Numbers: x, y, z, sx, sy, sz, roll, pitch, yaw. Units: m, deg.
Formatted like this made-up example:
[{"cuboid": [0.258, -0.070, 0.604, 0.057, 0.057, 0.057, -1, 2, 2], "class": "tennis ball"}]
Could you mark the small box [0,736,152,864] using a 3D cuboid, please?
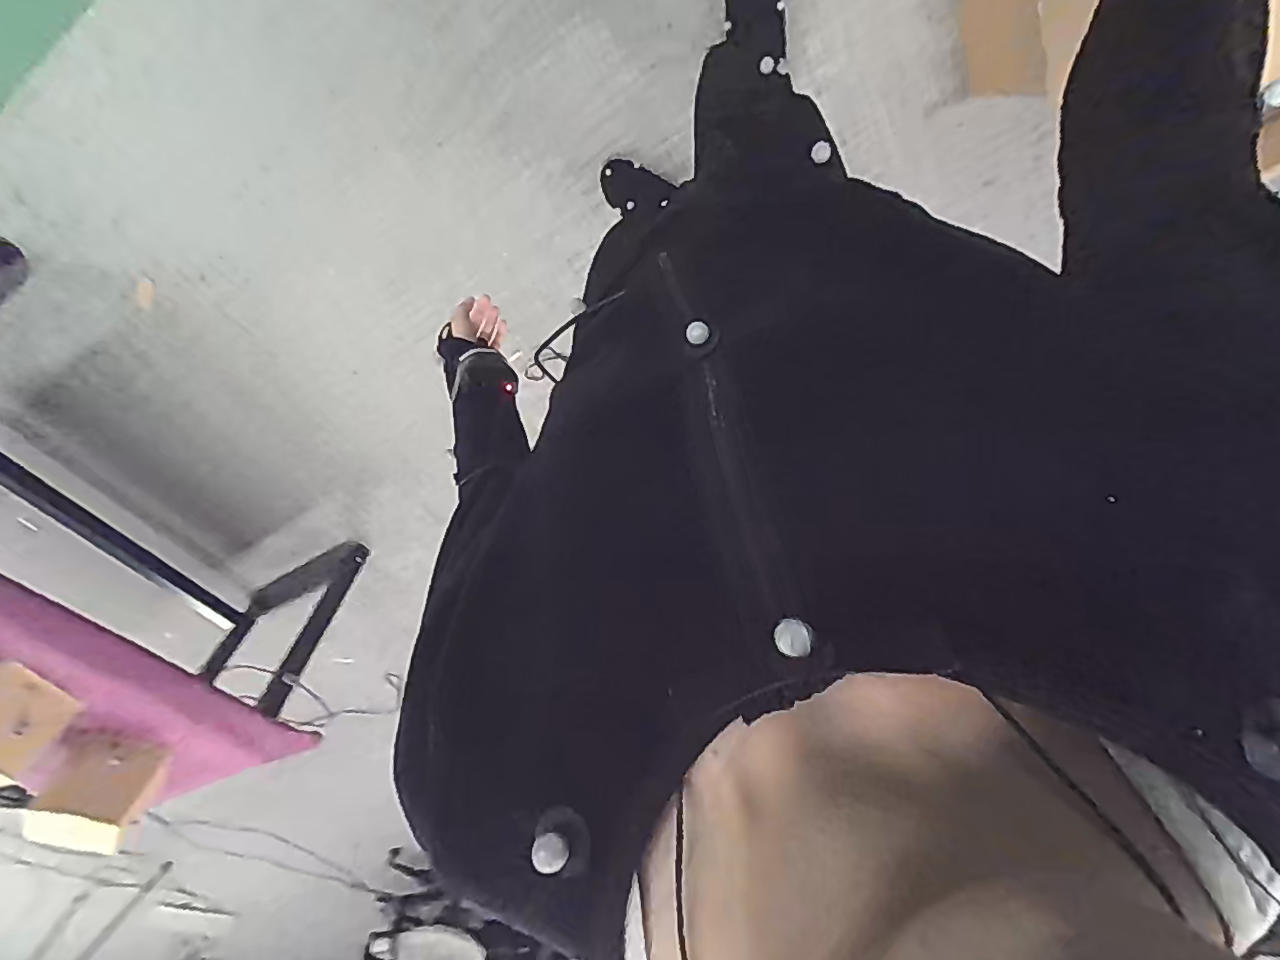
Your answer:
[{"cuboid": [-1.214, 0.692, 1.173, 0.168, 0.176, 0.179, 28, 119, -20], "class": "small box"}]

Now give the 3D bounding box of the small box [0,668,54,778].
[{"cuboid": [-1.292, 0.472, 1.021, 0.179, 0.176, 0.168, -14, 125, 9], "class": "small box"}]
